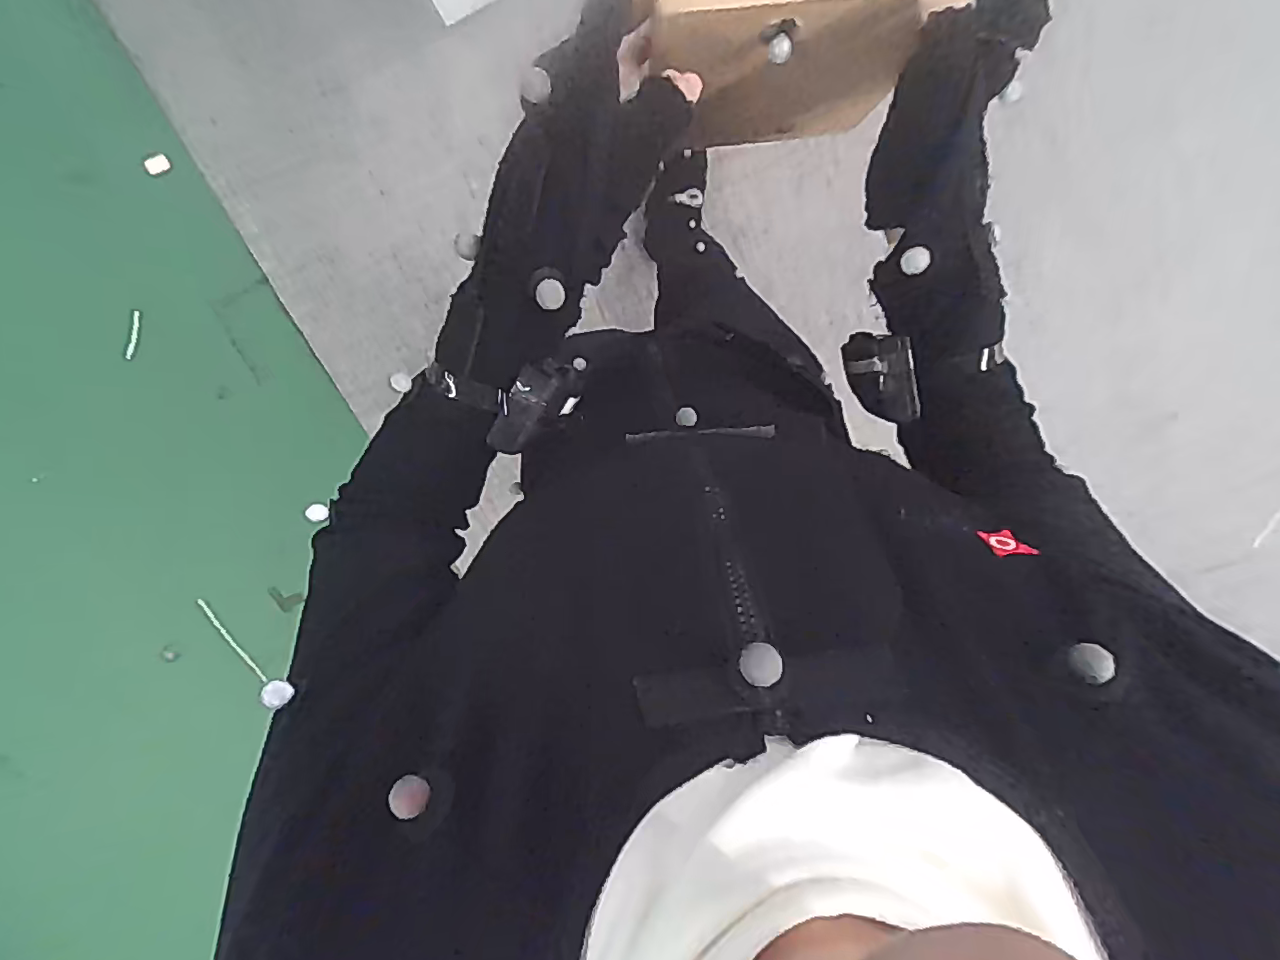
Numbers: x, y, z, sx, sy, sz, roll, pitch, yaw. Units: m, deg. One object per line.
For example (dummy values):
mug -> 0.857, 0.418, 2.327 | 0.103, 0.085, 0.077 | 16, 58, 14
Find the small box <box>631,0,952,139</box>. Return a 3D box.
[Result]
small box -> 0.077, -0.344, 0.332 | 0.168, 0.176, 0.179 | -6, 102, 0
